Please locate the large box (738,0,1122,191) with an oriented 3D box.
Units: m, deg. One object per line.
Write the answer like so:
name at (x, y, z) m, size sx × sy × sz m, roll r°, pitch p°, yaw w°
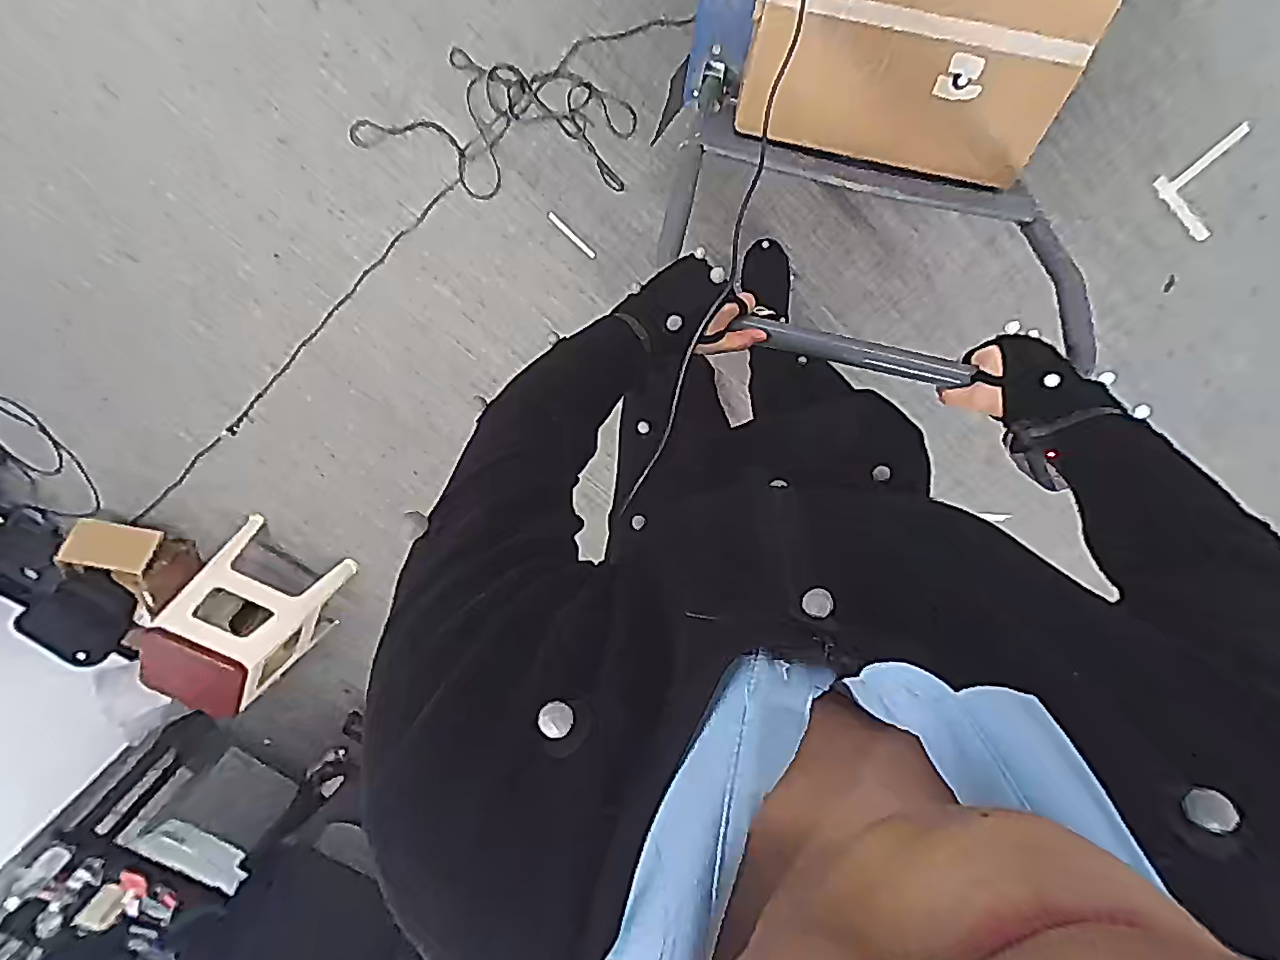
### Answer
large box at (0.372, -0.659, 0.765) m, size 0.408 × 0.320 × 0.320 m, roll 12°, pitch 138°, yaw -1°
